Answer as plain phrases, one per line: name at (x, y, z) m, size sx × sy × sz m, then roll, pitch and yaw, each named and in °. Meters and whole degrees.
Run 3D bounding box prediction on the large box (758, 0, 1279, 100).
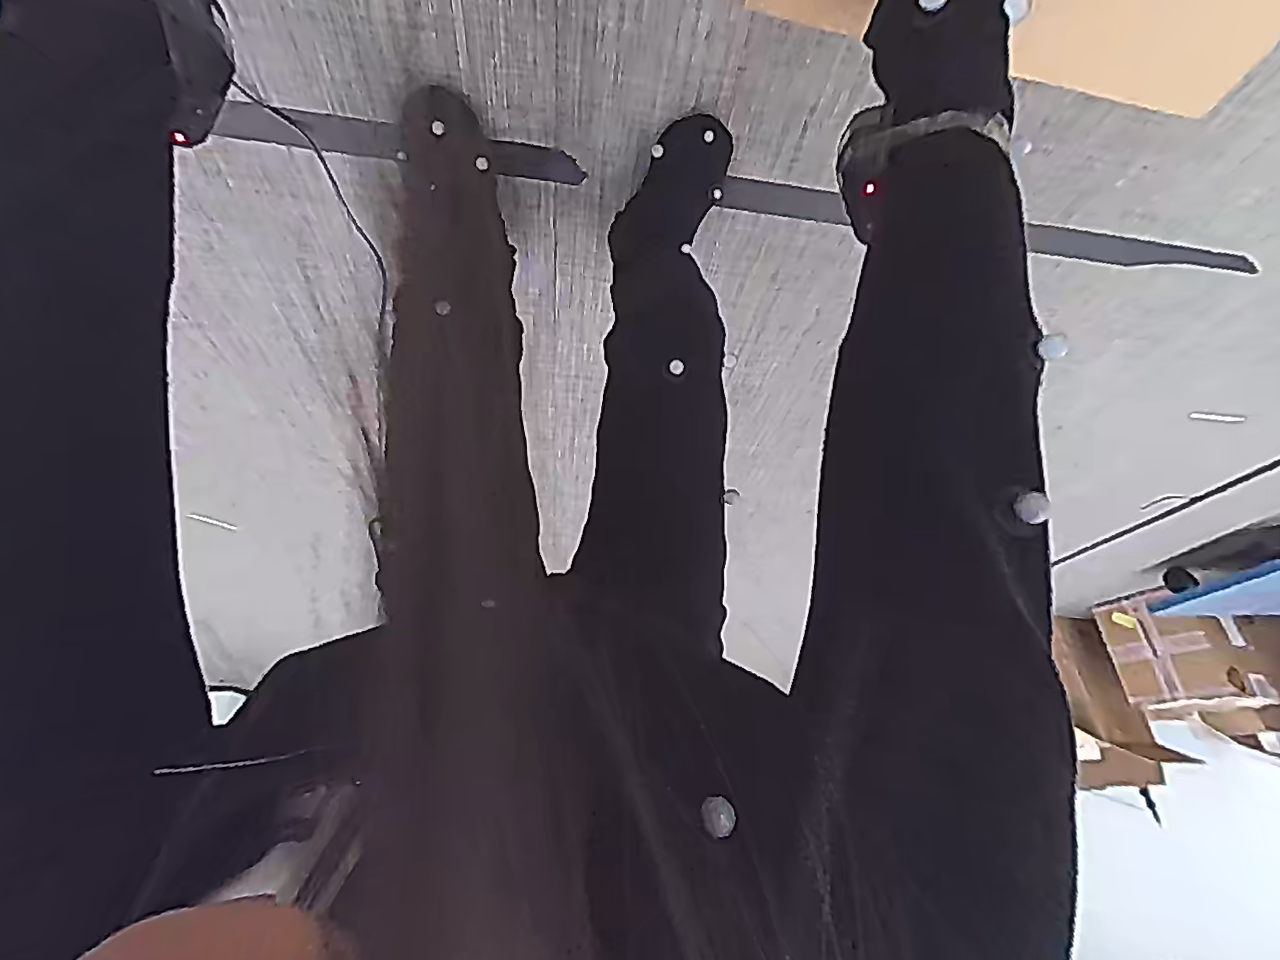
large box at (0.296, -0.539, 0.373) m, size 0.408 × 0.320 × 0.320 m, roll 4°, pitch 150°, yaw -11°
